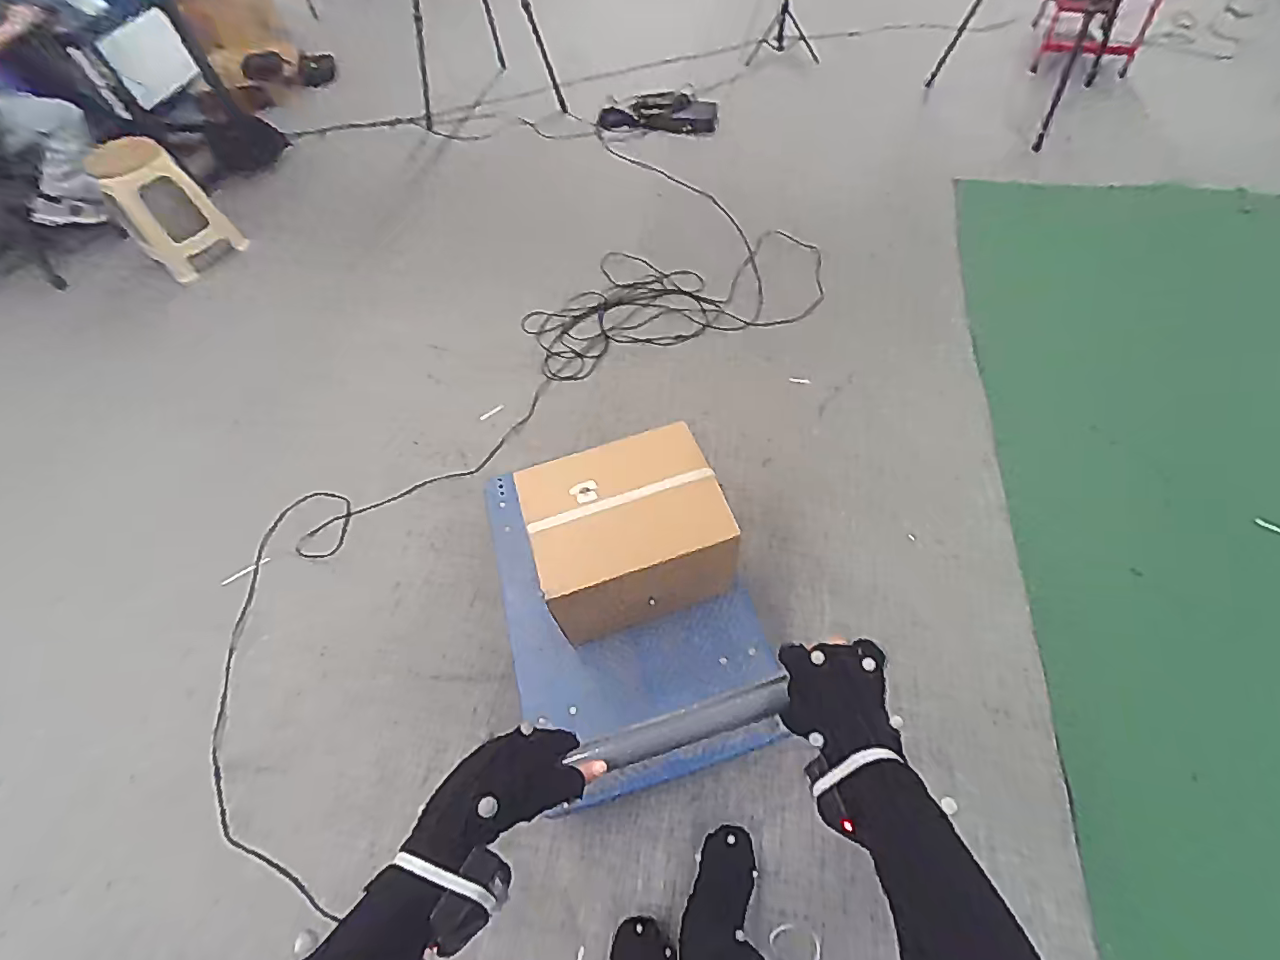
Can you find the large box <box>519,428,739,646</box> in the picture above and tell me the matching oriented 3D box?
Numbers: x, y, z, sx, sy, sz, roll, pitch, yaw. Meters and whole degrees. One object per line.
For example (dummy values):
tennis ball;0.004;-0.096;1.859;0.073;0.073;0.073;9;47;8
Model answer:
large box;-0.019;0.139;1.259;0.408;0.320;0.320;-18;56;-6
